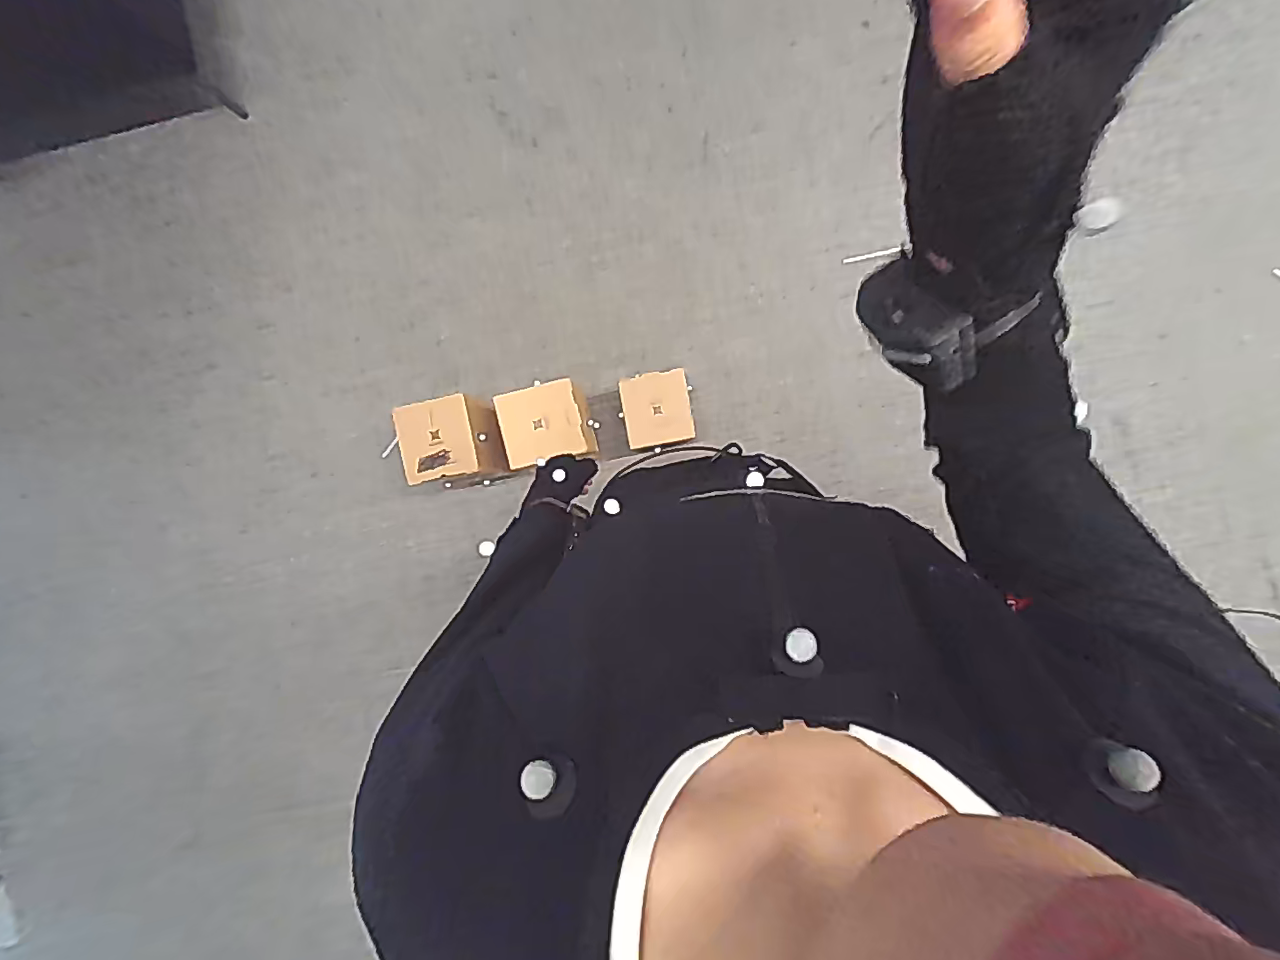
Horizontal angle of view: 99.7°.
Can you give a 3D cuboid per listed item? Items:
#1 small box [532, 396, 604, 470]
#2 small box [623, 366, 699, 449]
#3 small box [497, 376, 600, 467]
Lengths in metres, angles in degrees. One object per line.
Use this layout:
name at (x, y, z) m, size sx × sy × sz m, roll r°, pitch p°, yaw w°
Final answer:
small box at (-0.197, -0.126, 1.402) m, size 0.168 × 0.176 × 0.179 m, roll -13°, pitch 90°, yaw 5°
small box at (0.054, -0.180, 1.388) m, size 0.168 × 0.176 × 0.179 m, roll -10°, pitch 92°, yaw 4°
small box at (-0.202, -0.126, 1.239) m, size 0.179 × 0.176 × 0.168 m, roll -14°, pitch 92°, yaw 3°
